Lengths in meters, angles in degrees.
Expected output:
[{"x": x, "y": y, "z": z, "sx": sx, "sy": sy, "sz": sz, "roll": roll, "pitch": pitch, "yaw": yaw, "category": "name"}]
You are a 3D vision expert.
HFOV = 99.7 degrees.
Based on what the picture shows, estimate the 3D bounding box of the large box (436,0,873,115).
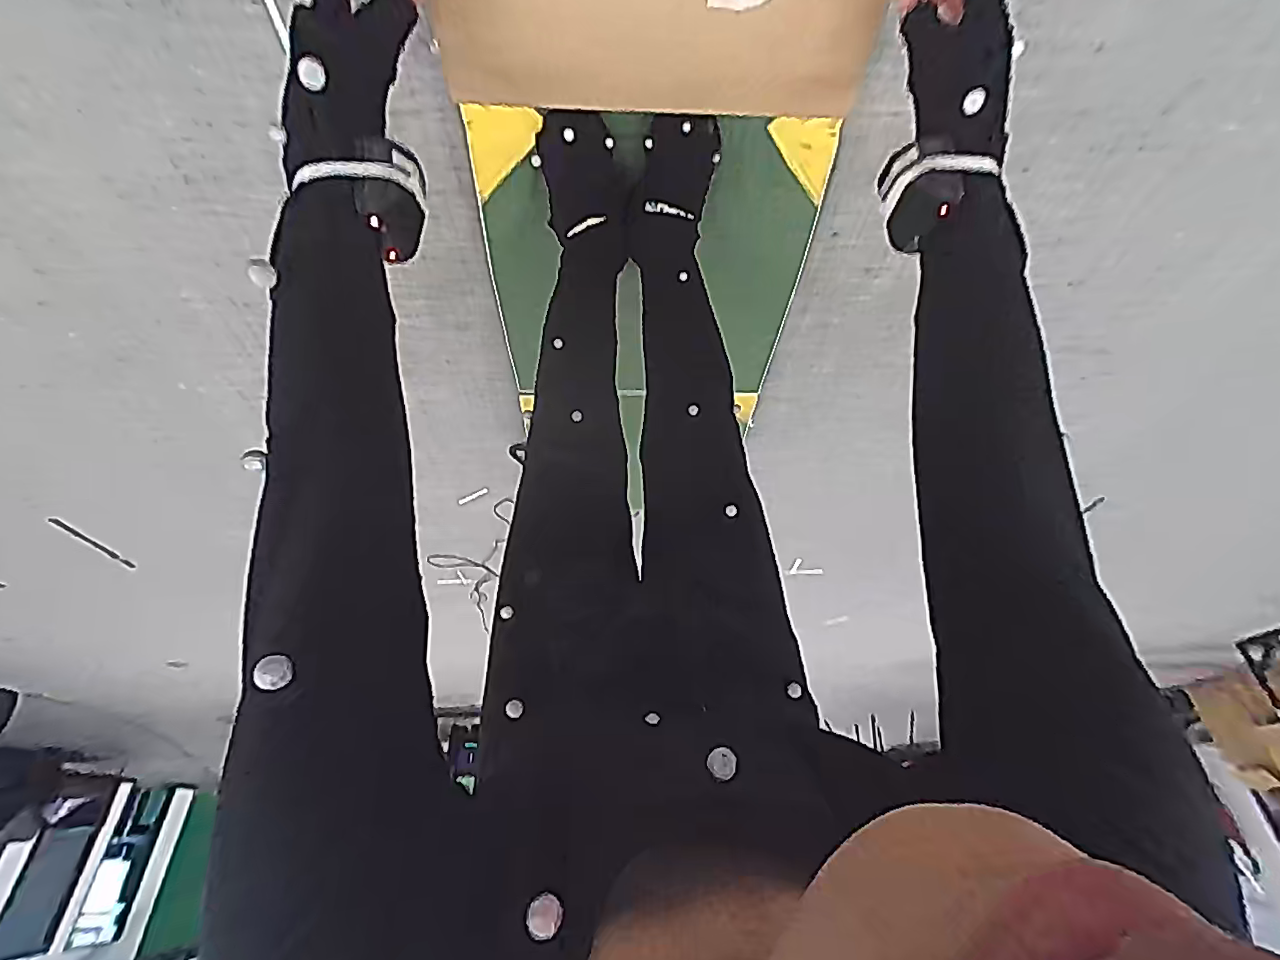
[{"x": 0.008, "y": -0.588, "z": 0.517, "sx": 0.408, "sy": 0.320, "sz": 0.320, "roll": -2, "pitch": 146, "yaw": -4, "category": "large box"}]
